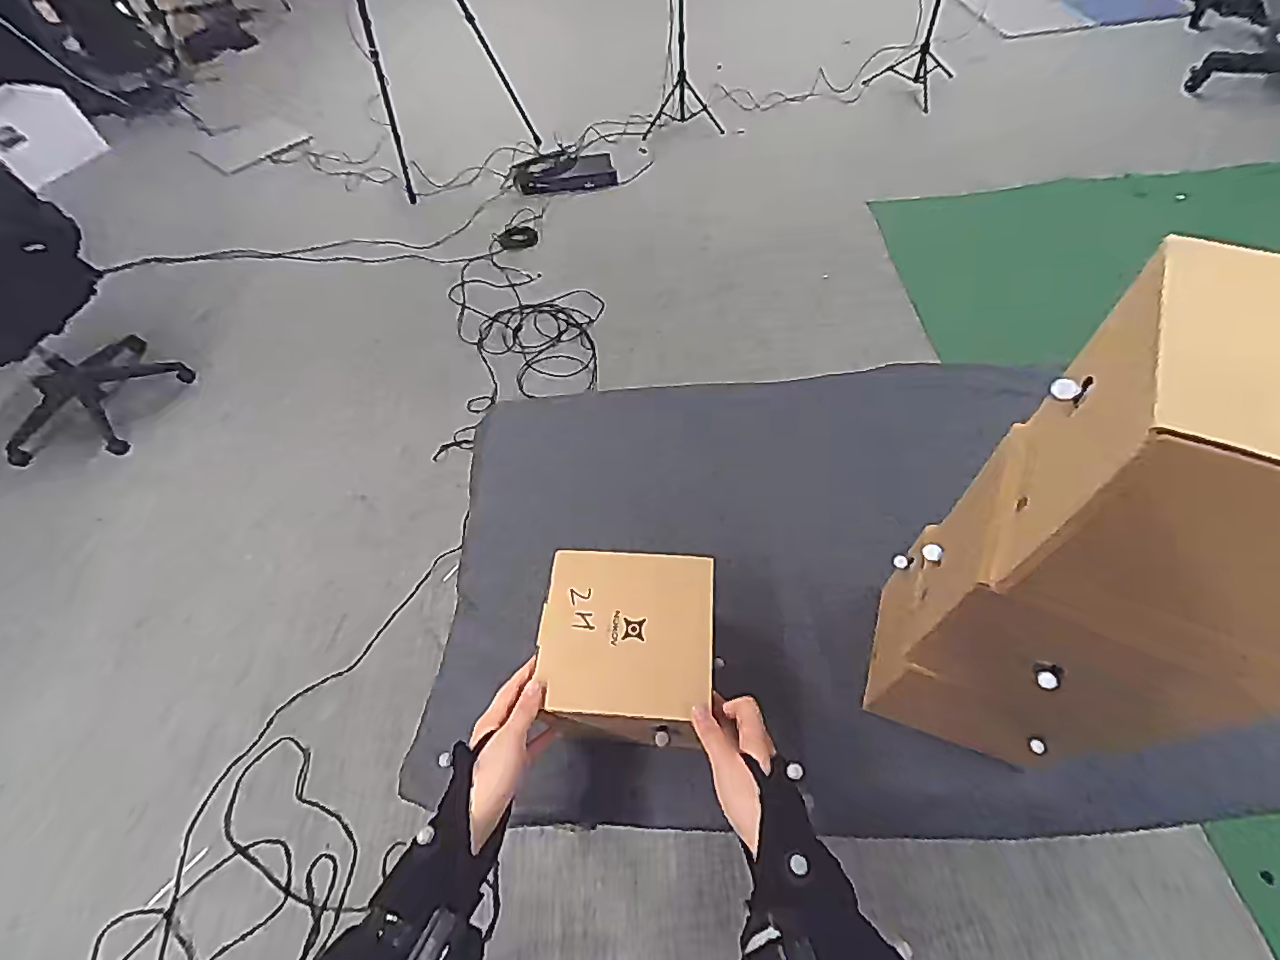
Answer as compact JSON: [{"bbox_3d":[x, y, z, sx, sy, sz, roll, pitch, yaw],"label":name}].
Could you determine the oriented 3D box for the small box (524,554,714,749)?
[{"bbox_3d":[-0.010,0.197,0.607,0.179,0.176,0.168,2,57,7],"label":"small box"}]

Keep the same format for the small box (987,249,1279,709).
[{"bbox_3d":[0.335,0.004,0.308,0.179,0.176,0.168,23,60,20],"label":"small box"}]

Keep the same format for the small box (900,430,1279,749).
[{"bbox_3d":[0.345,0.095,0.442,0.179,0.176,0.168,23,60,21],"label":"small box"}]
